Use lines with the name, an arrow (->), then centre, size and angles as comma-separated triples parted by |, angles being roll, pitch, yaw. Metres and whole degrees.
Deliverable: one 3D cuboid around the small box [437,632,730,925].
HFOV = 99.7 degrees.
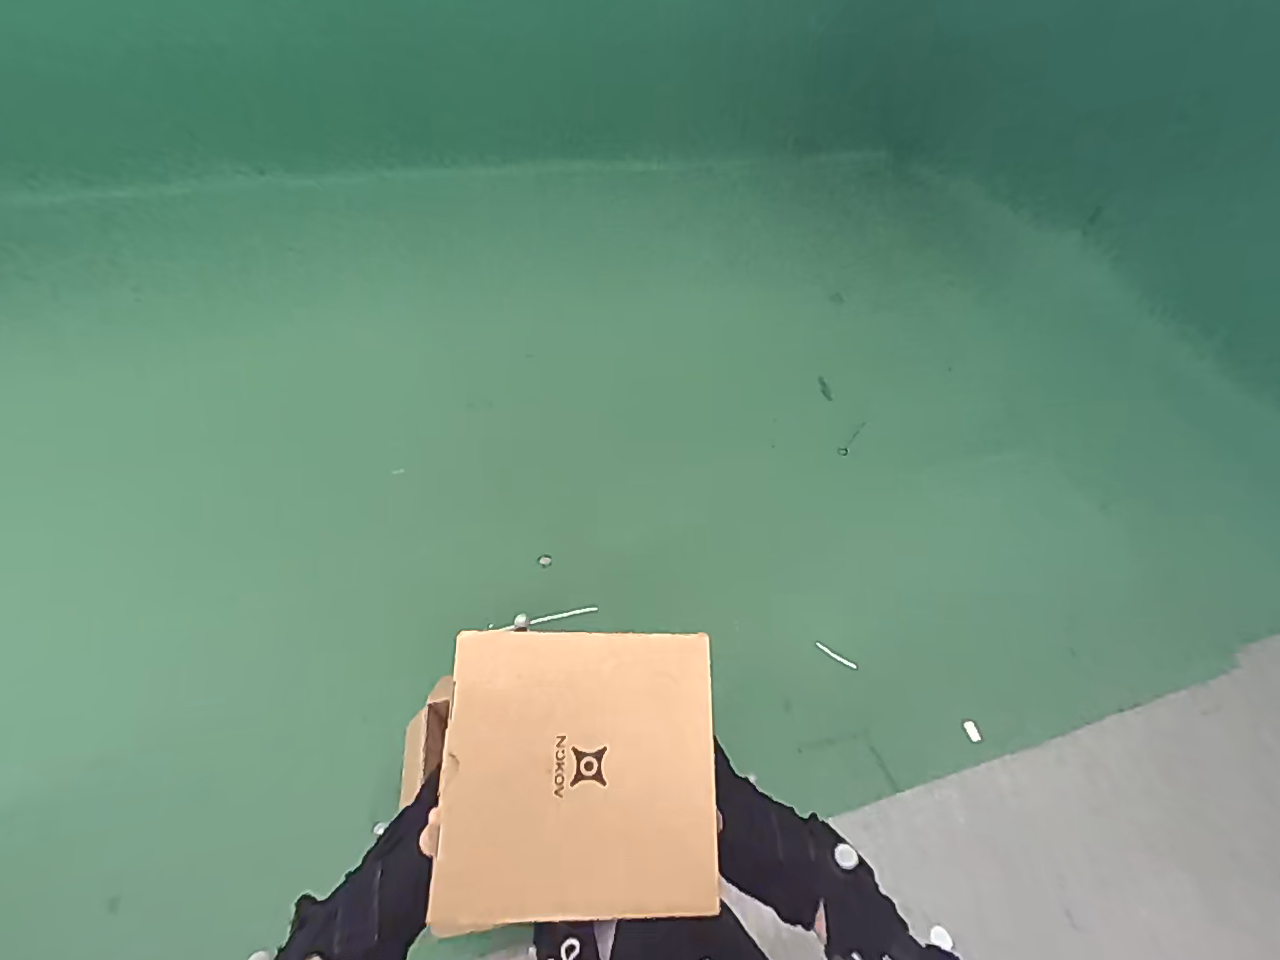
small box -> -0.039, 0.209, 0.420 | 0.179, 0.176, 0.168 | 1, 69, -5
